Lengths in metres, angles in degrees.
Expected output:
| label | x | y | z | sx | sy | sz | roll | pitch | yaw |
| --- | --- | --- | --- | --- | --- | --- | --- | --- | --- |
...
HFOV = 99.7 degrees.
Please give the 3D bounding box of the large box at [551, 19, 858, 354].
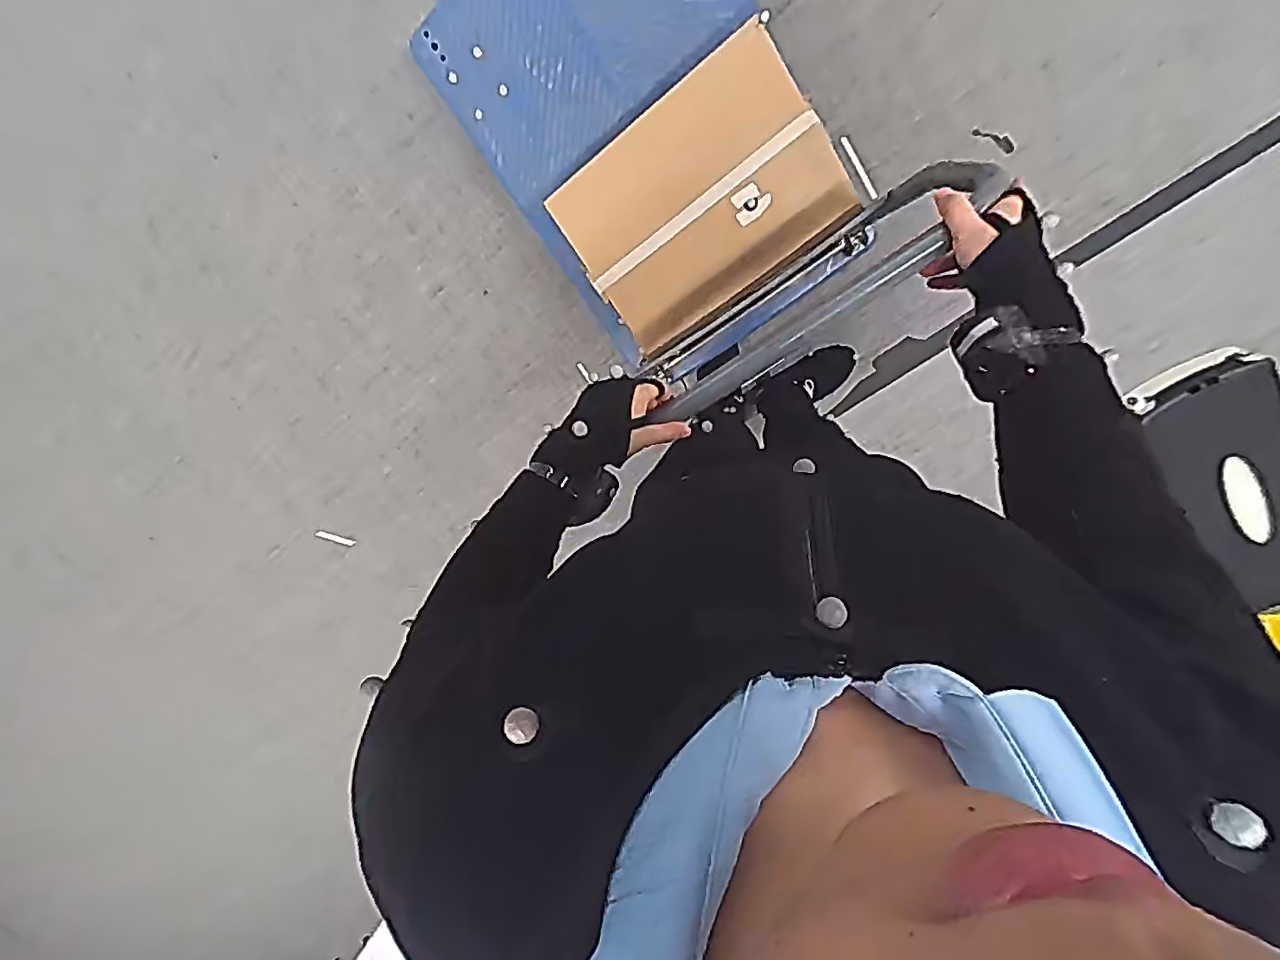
| label | x | y | z | sx | sy | sz | roll | pitch | yaw |
| --- | --- | --- | --- | --- | --- | --- | --- | --- | --- |
| large box | 0.113 | -0.488 | 1.001 | 0.408 | 0.320 | 0.320 | -33 | 103 | 17 |
